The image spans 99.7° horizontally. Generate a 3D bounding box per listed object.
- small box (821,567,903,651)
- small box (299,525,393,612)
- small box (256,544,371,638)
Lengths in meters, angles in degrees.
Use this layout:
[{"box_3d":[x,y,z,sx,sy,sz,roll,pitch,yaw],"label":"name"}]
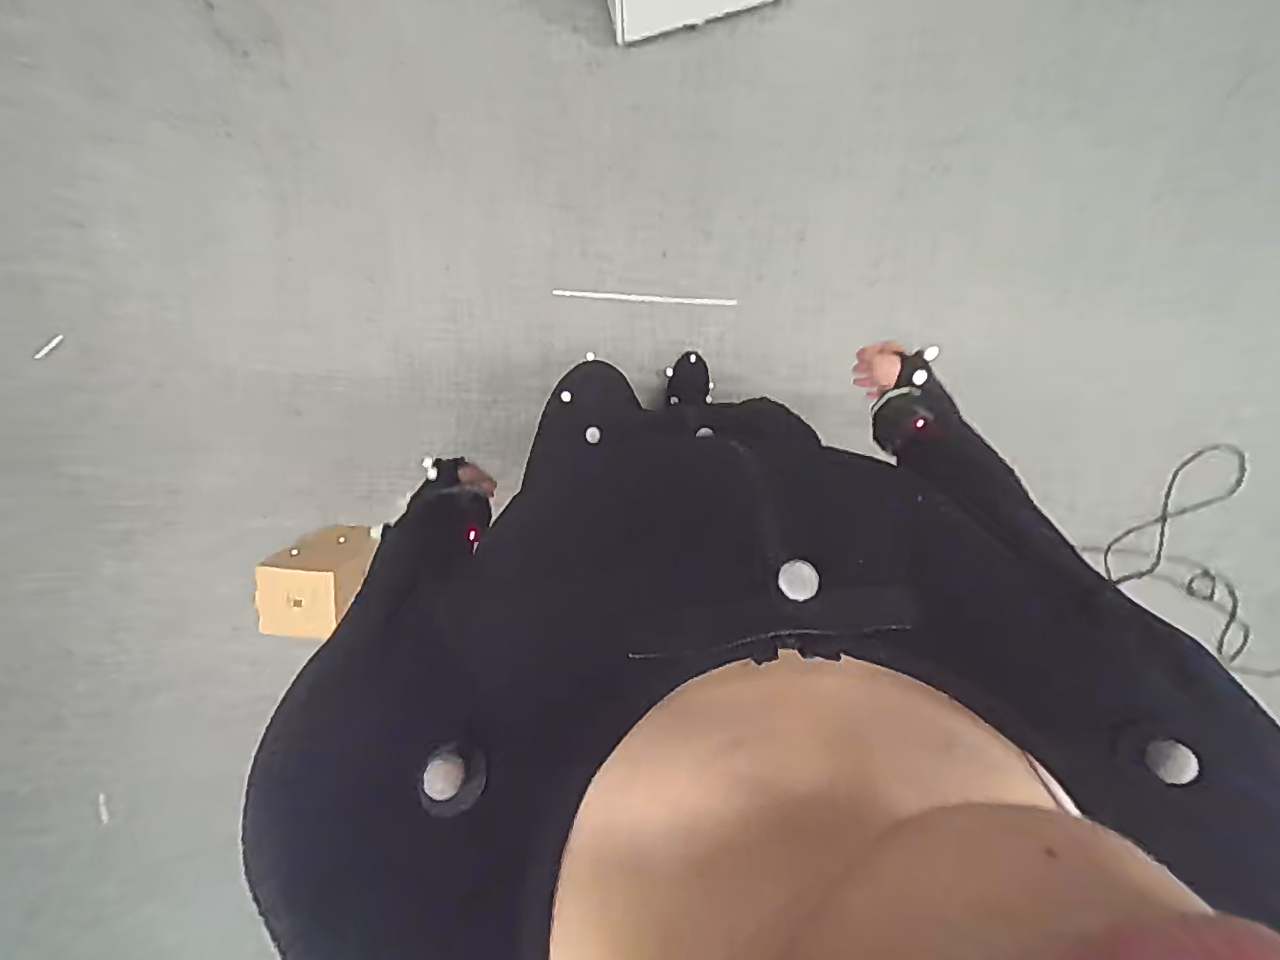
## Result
[{"box_3d":[0.598,0.344,1.464,0.179,0.176,0.168,-4,101,1],"label":"small box"},{"box_3d":[-0.780,0.232,1.452,0.168,0.176,0.179,4,101,-1],"label":"small box"},{"box_3d":[-0.771,0.257,1.291,0.179,0.176,0.168,4,102,-1],"label":"small box"}]
